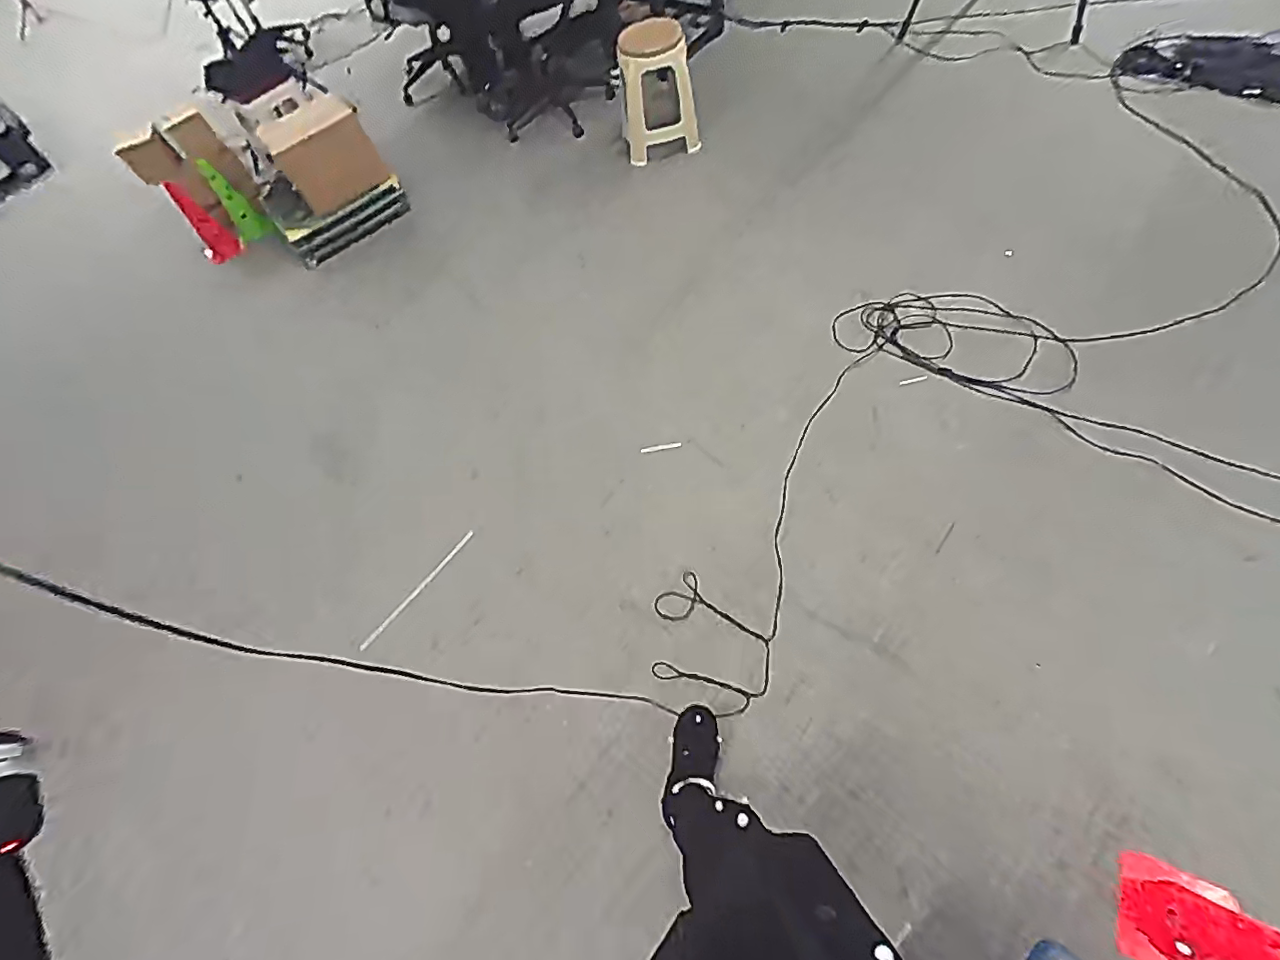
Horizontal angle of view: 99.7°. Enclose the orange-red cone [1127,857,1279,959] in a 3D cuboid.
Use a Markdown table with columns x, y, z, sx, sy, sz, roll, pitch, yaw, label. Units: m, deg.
| x | y | z | sx | sy | sz | roll | pitch | yaw | label |
| --- | --- | --- | --- | --- | --- | --- | --- | --- | --- |
| 1.079 | 0.822 | 0.944 | 0.198 | 0.360 | 0.199 | 19 | 65 | 19 | orange-red cone |
